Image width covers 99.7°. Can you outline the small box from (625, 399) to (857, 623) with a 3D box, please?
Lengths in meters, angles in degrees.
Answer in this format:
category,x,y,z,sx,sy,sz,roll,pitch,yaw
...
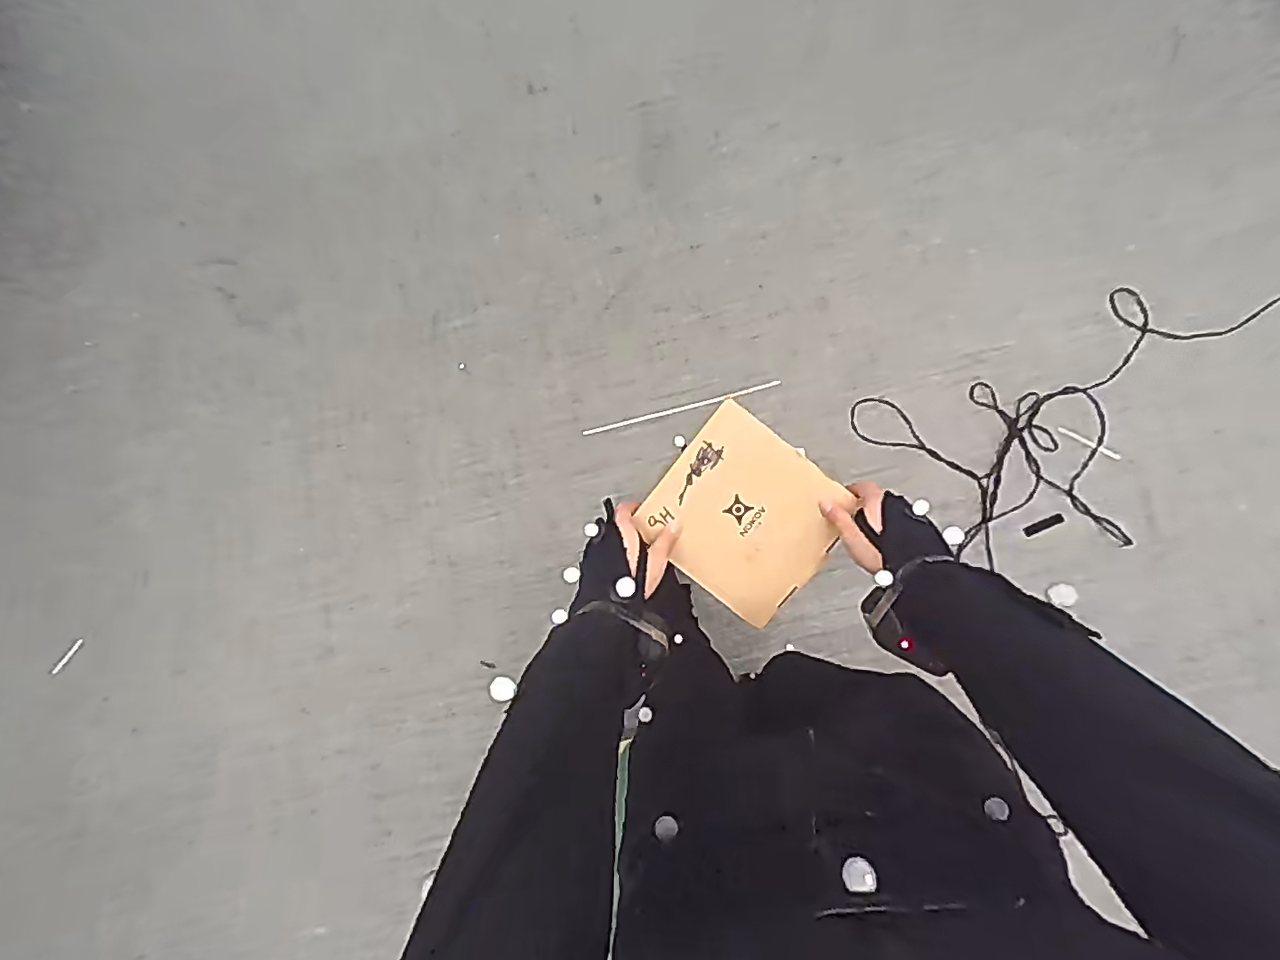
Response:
category,x,y,z,sx,sy,sz,roll,pitch,yaw
small box,0.105,0.024,0.620,0.179,0.176,0.168,39,96,-1
